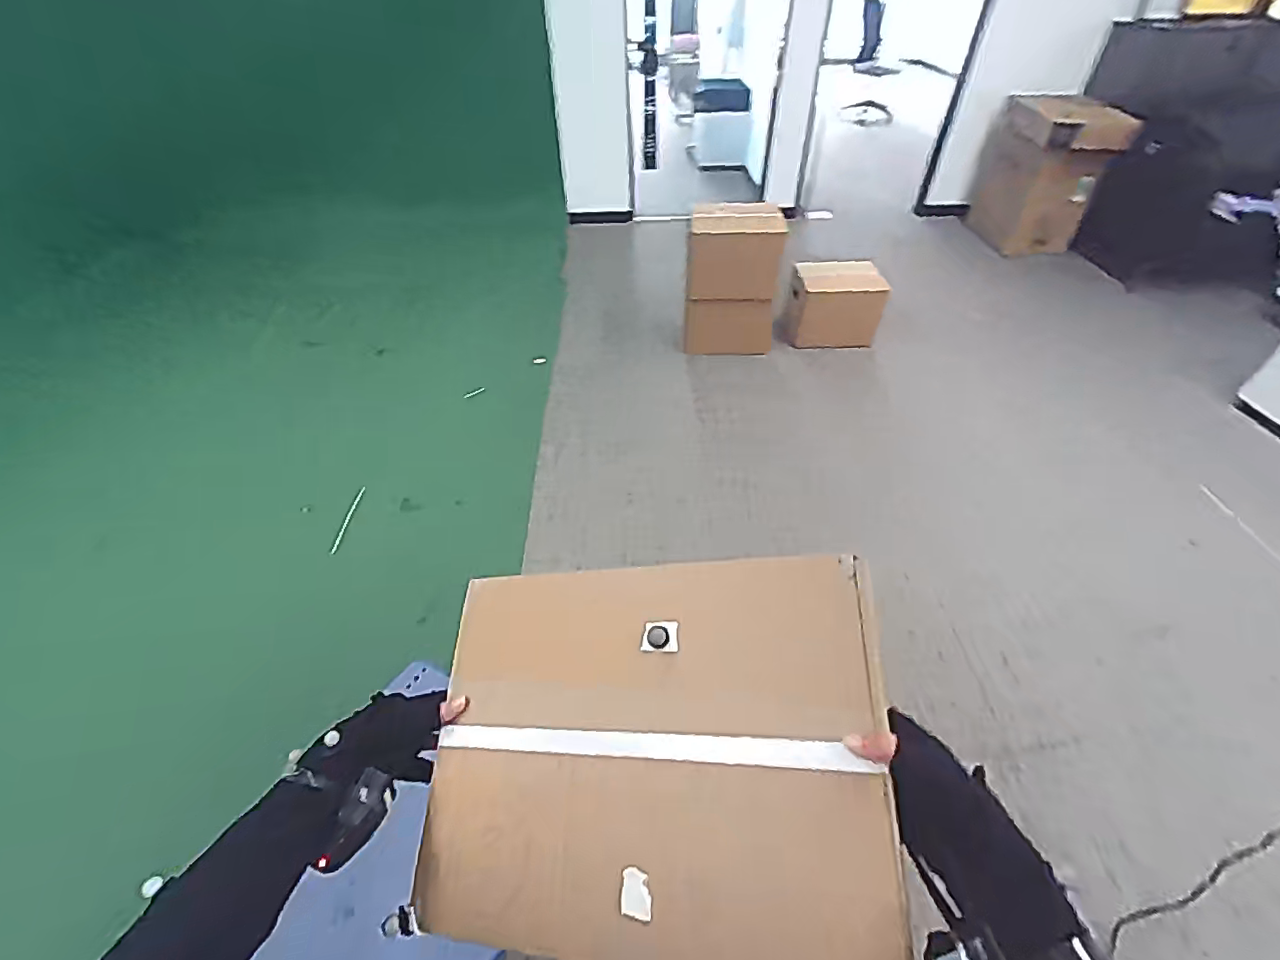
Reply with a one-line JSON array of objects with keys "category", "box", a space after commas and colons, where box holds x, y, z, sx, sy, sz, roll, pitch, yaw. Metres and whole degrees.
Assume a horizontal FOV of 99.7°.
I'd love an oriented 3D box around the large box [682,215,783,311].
[{"category": "large box", "box": [0.406, -0.991, 2.476, 0.408, 0.320, 0.320, -1, 46, 1]}]
